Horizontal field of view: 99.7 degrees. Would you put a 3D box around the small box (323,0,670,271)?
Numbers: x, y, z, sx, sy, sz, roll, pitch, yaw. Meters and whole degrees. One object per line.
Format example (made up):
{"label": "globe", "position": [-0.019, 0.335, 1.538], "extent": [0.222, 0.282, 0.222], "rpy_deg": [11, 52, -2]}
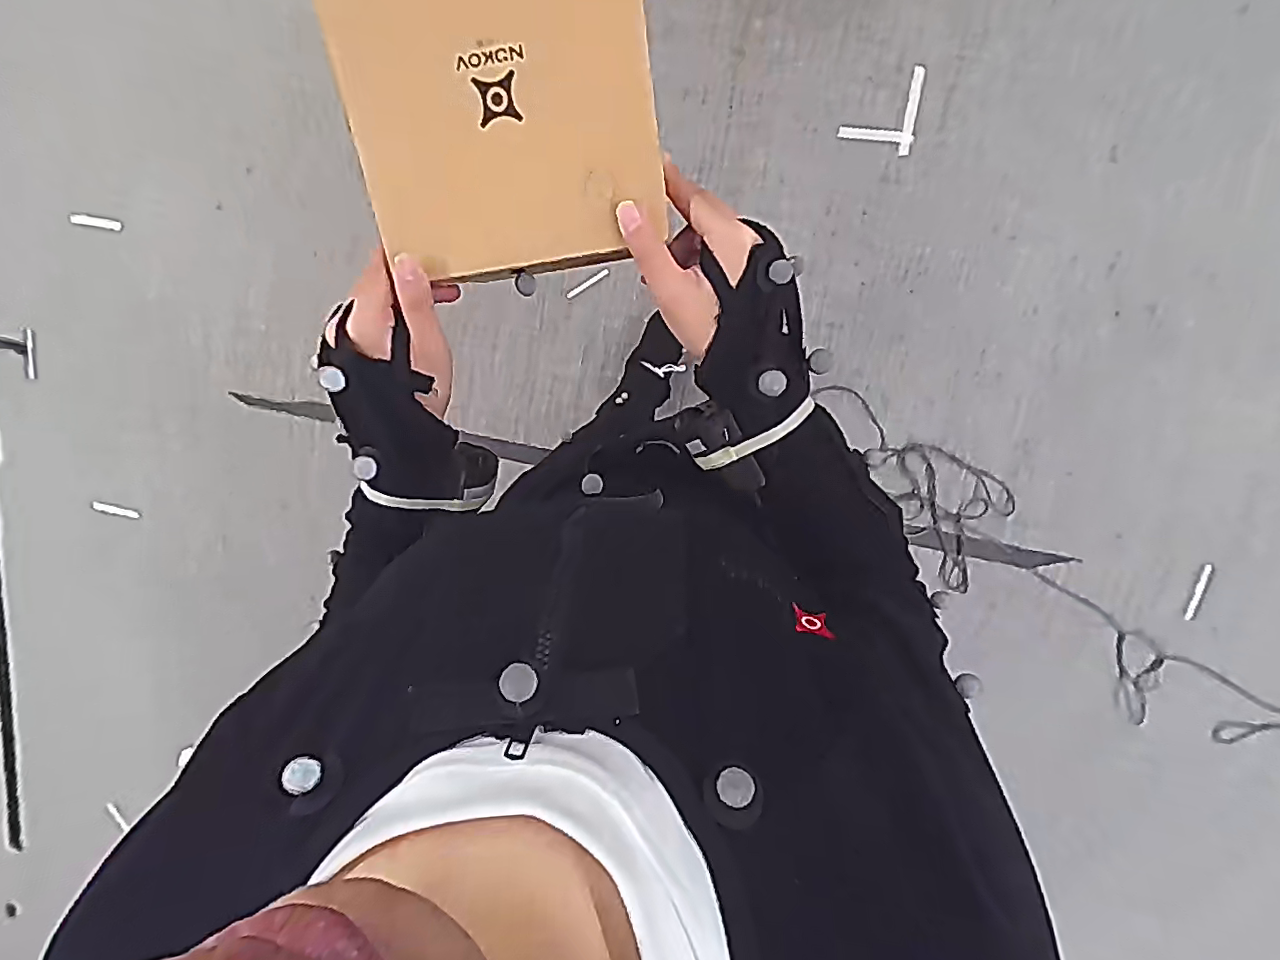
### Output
{"label": "small box", "position": [-0.070, -0.239, 0.356], "extent": [0.168, 0.176, 0.179], "rpy_deg": [-7, 108, 5]}
